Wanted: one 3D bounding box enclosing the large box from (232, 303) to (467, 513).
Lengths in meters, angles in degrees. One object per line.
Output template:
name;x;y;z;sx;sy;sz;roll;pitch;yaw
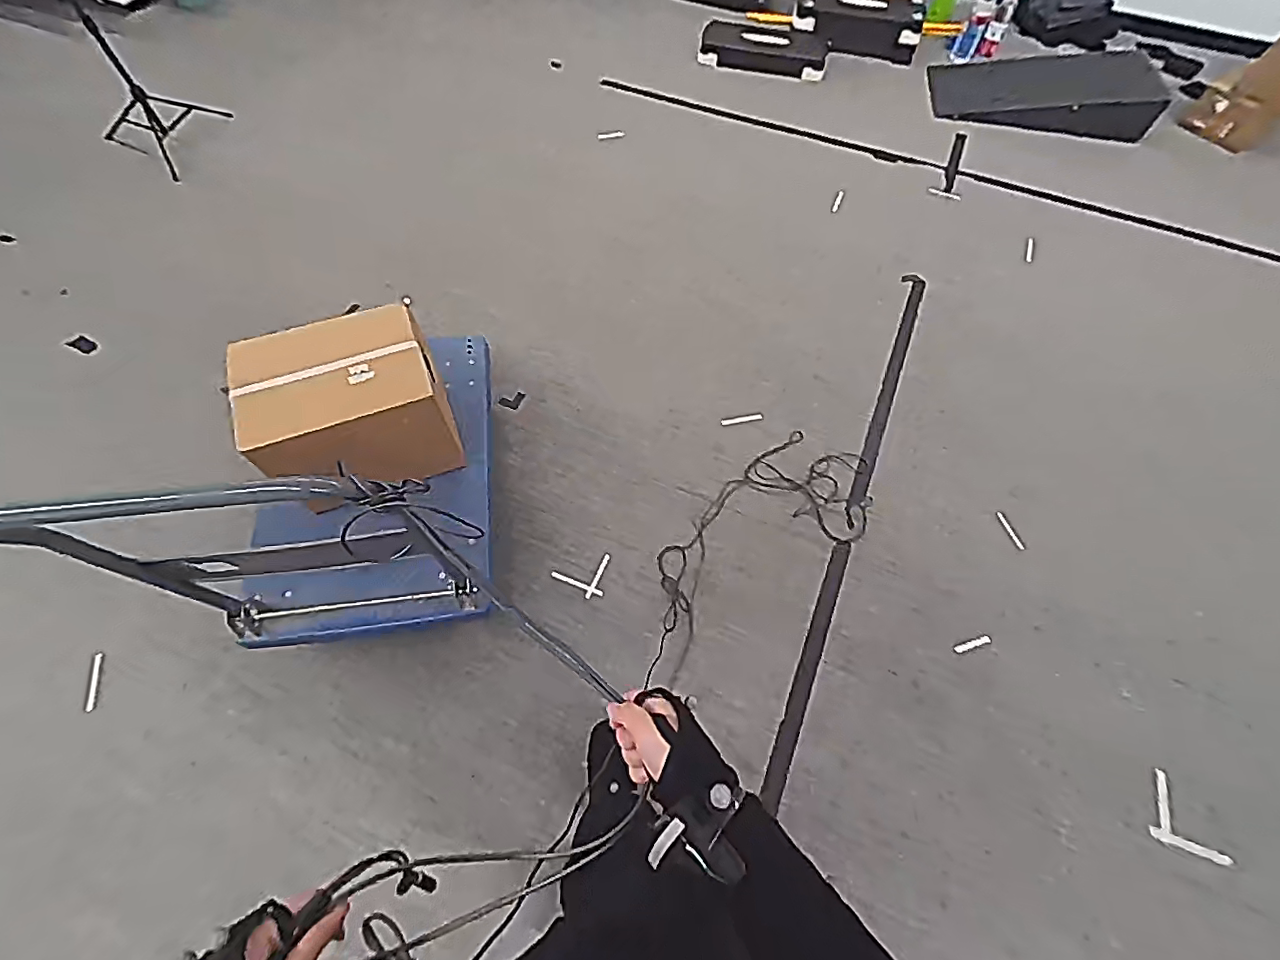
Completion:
large box;-0.692;-0.170;1.335;0.408;0.320;0.320;-20;65;-13
